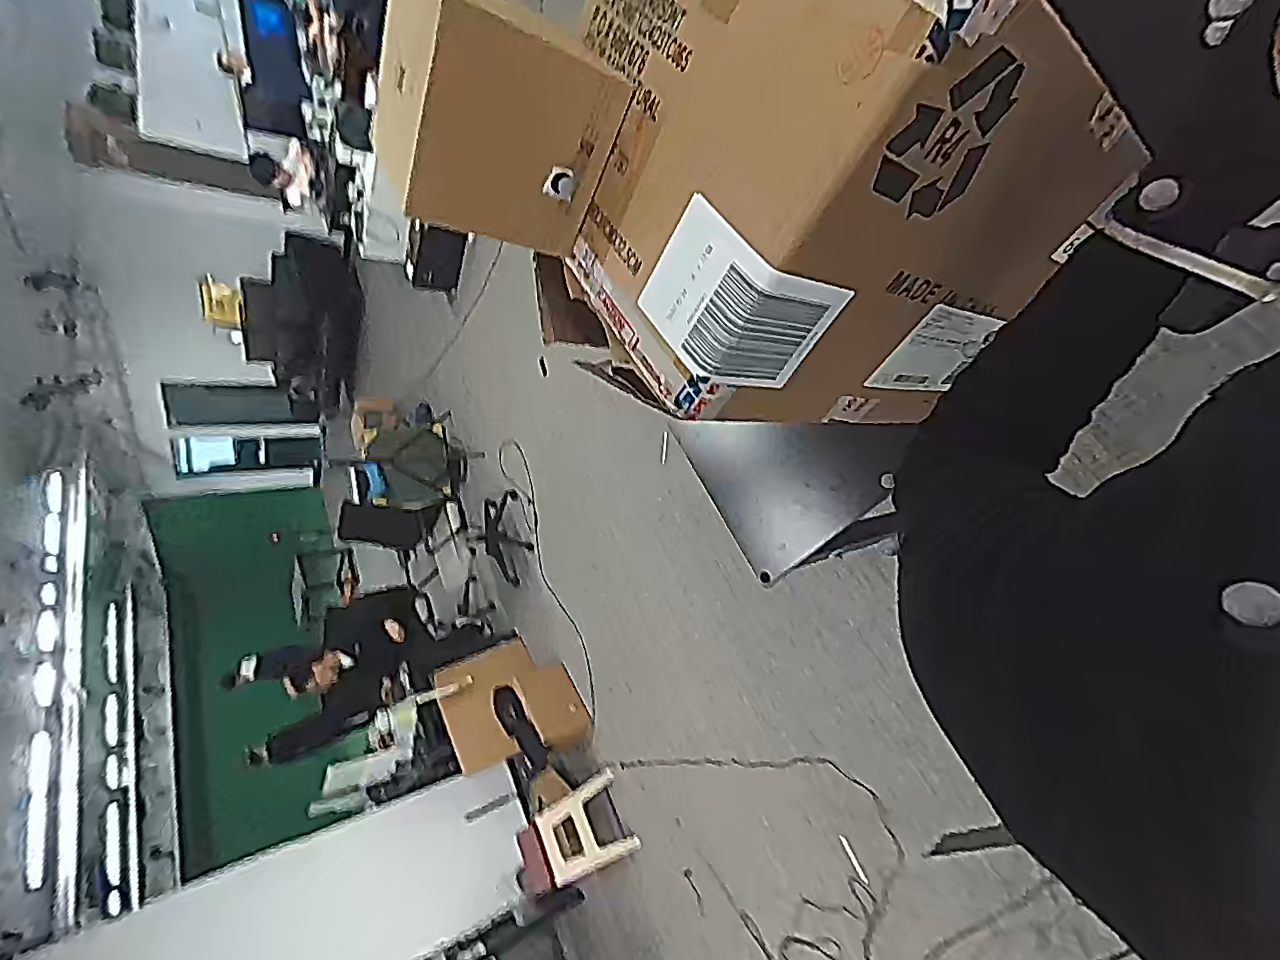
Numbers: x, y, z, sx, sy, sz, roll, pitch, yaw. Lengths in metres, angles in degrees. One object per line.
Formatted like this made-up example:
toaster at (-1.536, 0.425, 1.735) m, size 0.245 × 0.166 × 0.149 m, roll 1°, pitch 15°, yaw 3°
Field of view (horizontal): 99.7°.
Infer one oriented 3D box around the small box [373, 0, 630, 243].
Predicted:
small box at (-0.139, -0.352, 0.515) m, size 0.179 × 0.176 × 0.168 m, roll 58°, pitch 135°, yaw 32°
